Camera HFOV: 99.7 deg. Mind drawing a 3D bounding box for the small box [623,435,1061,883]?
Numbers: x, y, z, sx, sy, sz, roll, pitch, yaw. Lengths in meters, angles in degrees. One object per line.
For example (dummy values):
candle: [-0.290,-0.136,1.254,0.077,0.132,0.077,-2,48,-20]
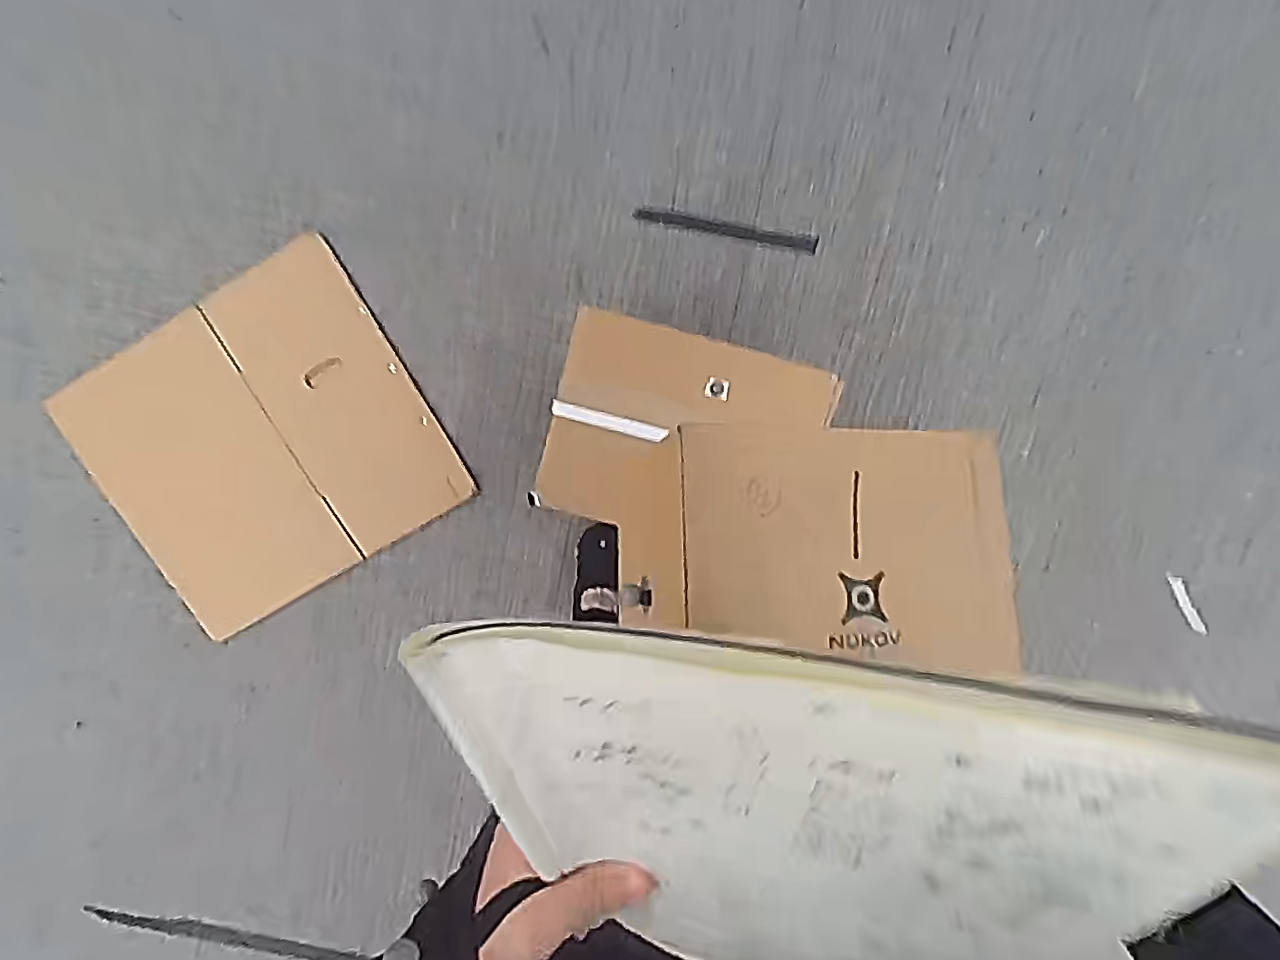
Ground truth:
small box: [0.084,0.080,0.306,0.168,0.176,0.179,1,81,-10]
